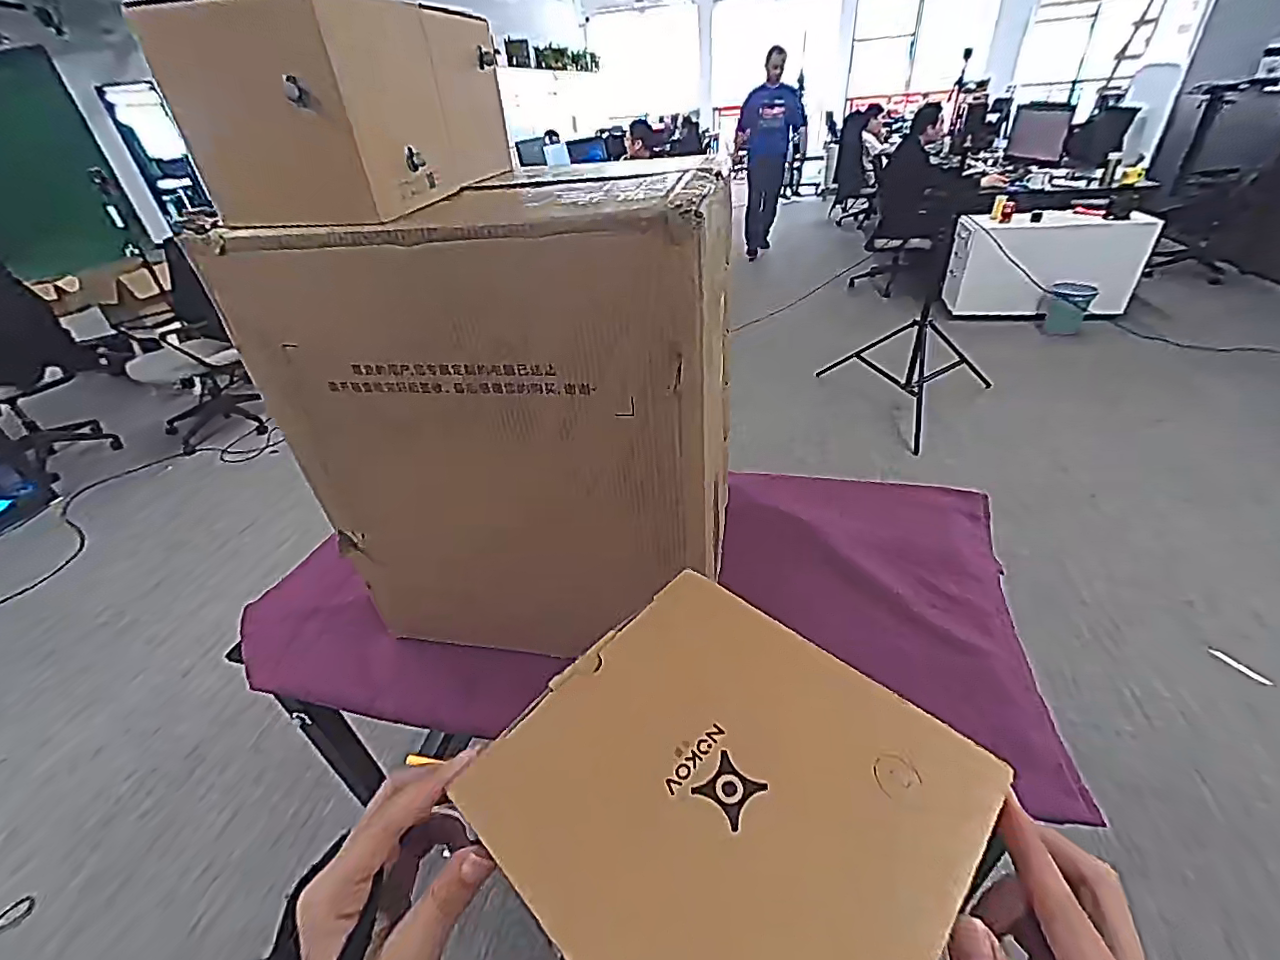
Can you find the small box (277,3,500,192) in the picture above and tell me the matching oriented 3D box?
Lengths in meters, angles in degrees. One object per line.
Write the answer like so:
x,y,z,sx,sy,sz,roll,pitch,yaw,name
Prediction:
-0.287,-0.461,0.668,0.168,0.176,0.179,3,36,11,small box
